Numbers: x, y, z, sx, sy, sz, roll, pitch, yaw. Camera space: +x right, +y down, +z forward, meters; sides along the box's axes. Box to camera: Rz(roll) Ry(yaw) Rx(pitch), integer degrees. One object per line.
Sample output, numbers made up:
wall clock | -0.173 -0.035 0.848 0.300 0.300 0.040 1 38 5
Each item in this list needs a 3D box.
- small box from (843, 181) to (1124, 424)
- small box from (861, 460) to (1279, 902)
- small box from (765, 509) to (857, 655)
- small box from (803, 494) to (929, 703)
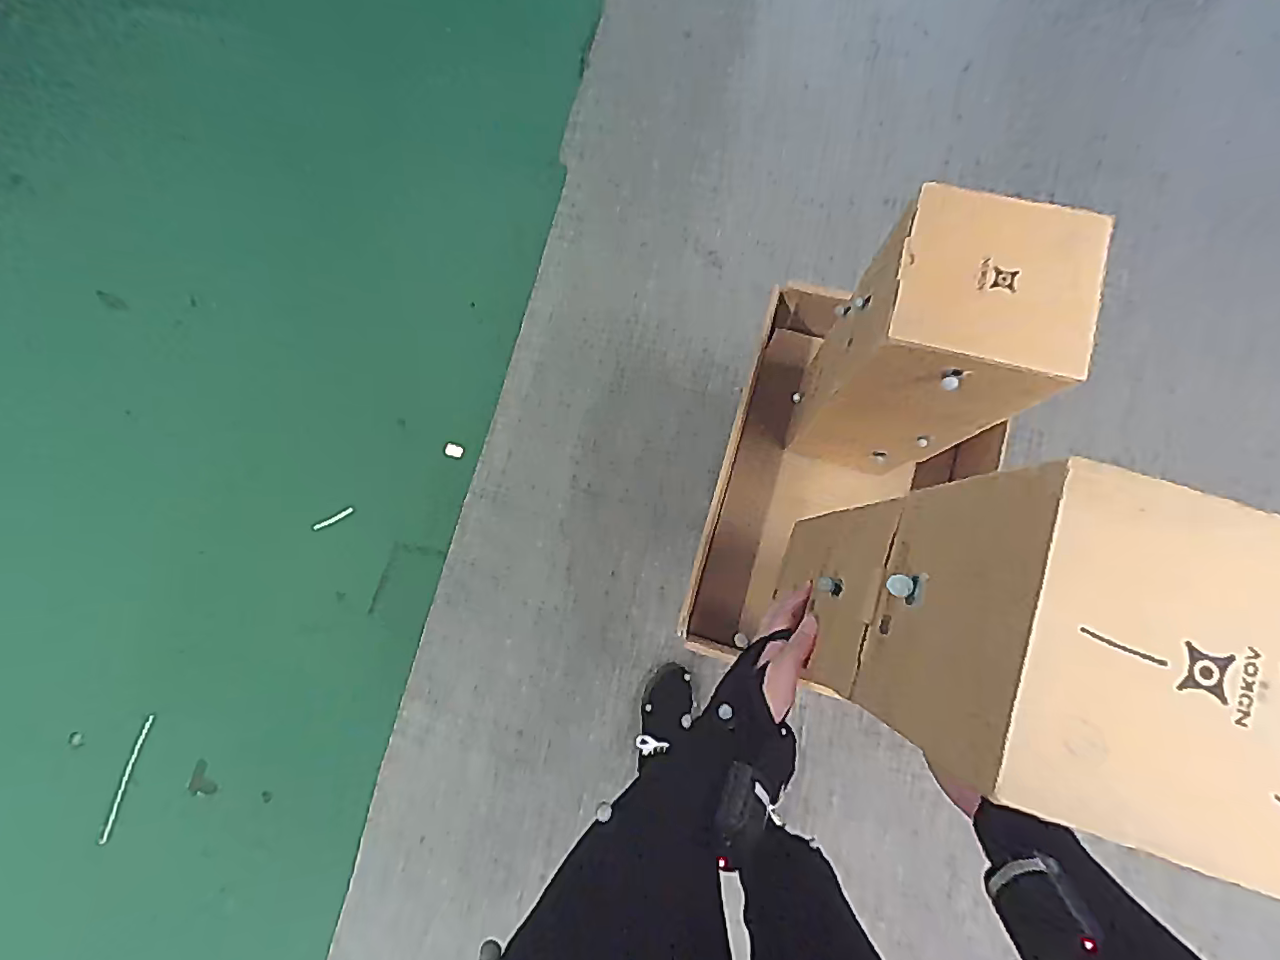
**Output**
small box | 0.337 -0.168 0.564 0.179 0.176 0.168 15 82 7
small box | 0.265 0.101 0.322 0.179 0.176 0.168 18 83 4
small box | 0.267 0.148 0.647 0.179 0.176 0.168 22 83 3
small box | 0.266 0.126 0.485 0.179 0.176 0.168 19 84 4
